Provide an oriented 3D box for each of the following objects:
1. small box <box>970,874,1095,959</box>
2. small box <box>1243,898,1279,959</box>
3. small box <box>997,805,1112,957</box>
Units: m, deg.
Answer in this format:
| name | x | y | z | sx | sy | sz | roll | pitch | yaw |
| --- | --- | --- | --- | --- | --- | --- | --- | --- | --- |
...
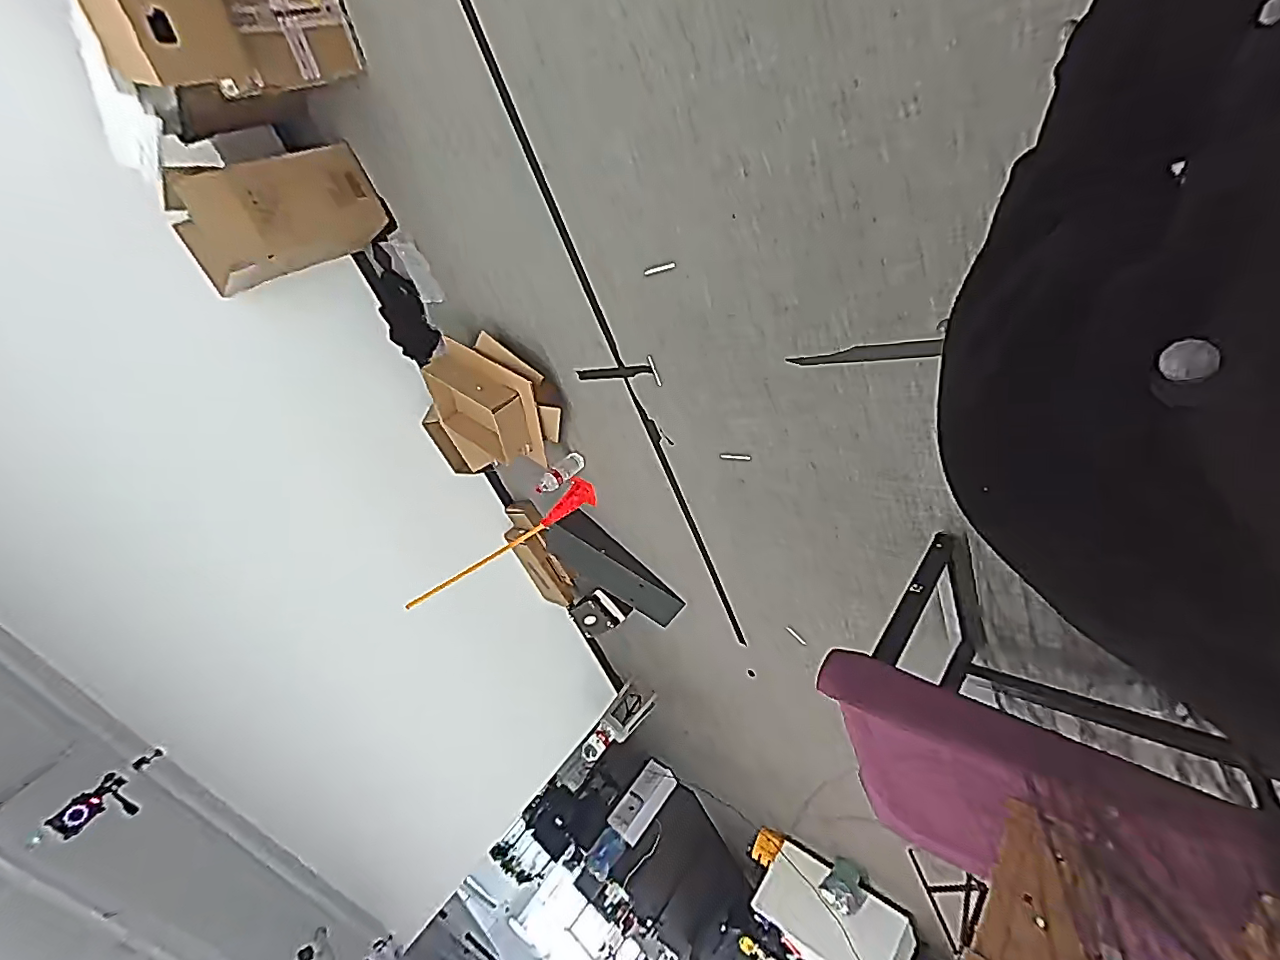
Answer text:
| name | x | y | z | sx | sy | sz | roll | pitch | yaw |
| --- | --- | --- | --- | --- | --- | --- | --- | --- | --- |
| small box | 0.761 | 0.926 | 1.050 | 0.168 | 0.176 | 0.179 | 10 | 132 | 45 |
| small box | 1.089 | 0.821 | 0.856 | 0.168 | 0.176 | 0.179 | 9 | 132 | 46 |
| small box | 0.865 | 0.829 | 1.132 | 0.168 | 0.176 | 0.179 | 11 | 133 | 45 |
